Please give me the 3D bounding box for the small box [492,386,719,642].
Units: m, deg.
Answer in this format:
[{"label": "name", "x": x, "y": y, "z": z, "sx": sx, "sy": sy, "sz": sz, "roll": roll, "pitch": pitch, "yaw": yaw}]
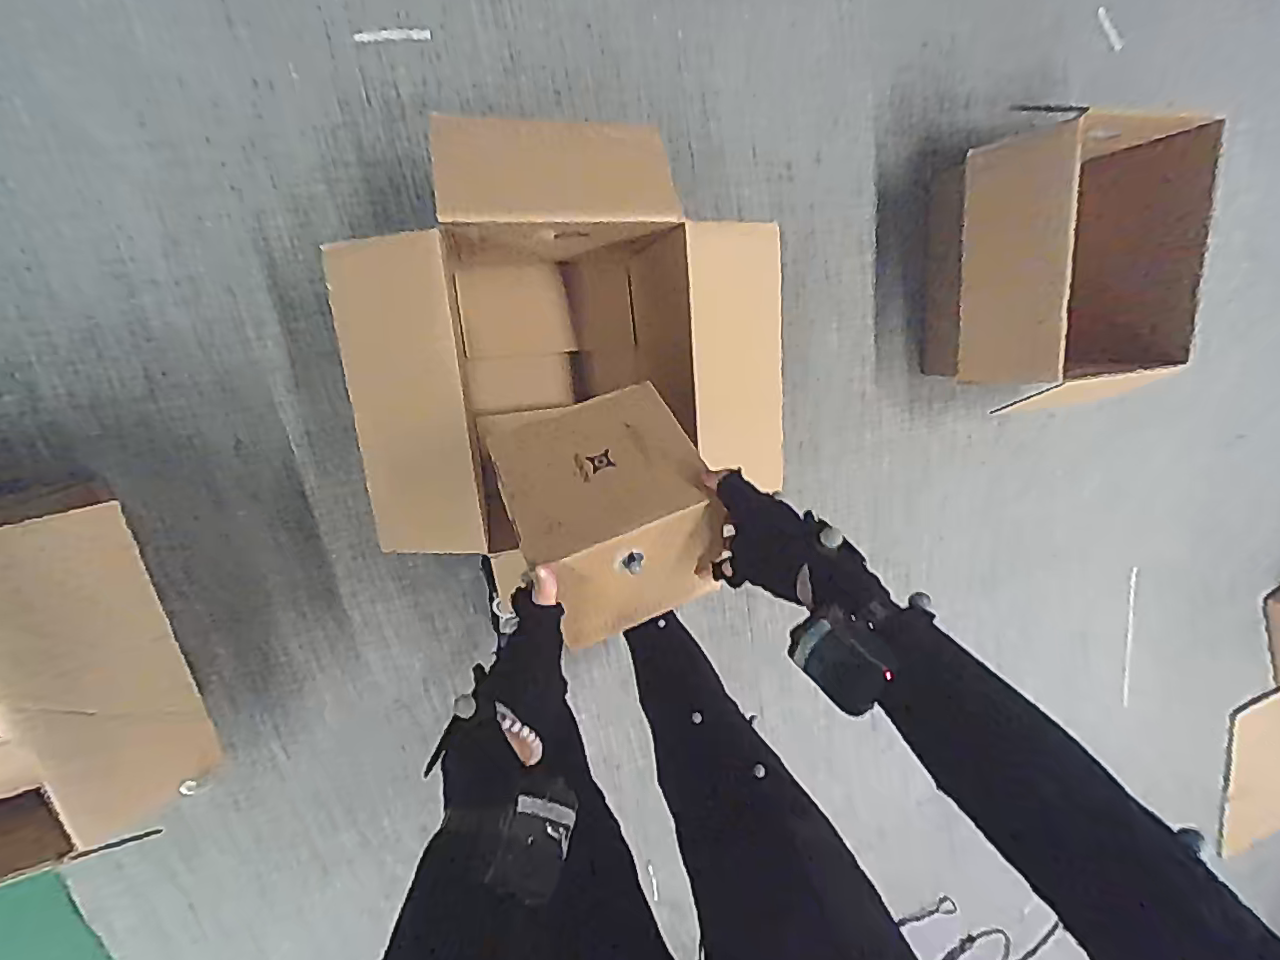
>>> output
[{"label": "small box", "x": -0.030, "y": 0.039, "z": 0.555, "sx": 0.179, "sy": 0.168, "sz": 0.176, "roll": -20, "pitch": 142, "yaw": -9}]
